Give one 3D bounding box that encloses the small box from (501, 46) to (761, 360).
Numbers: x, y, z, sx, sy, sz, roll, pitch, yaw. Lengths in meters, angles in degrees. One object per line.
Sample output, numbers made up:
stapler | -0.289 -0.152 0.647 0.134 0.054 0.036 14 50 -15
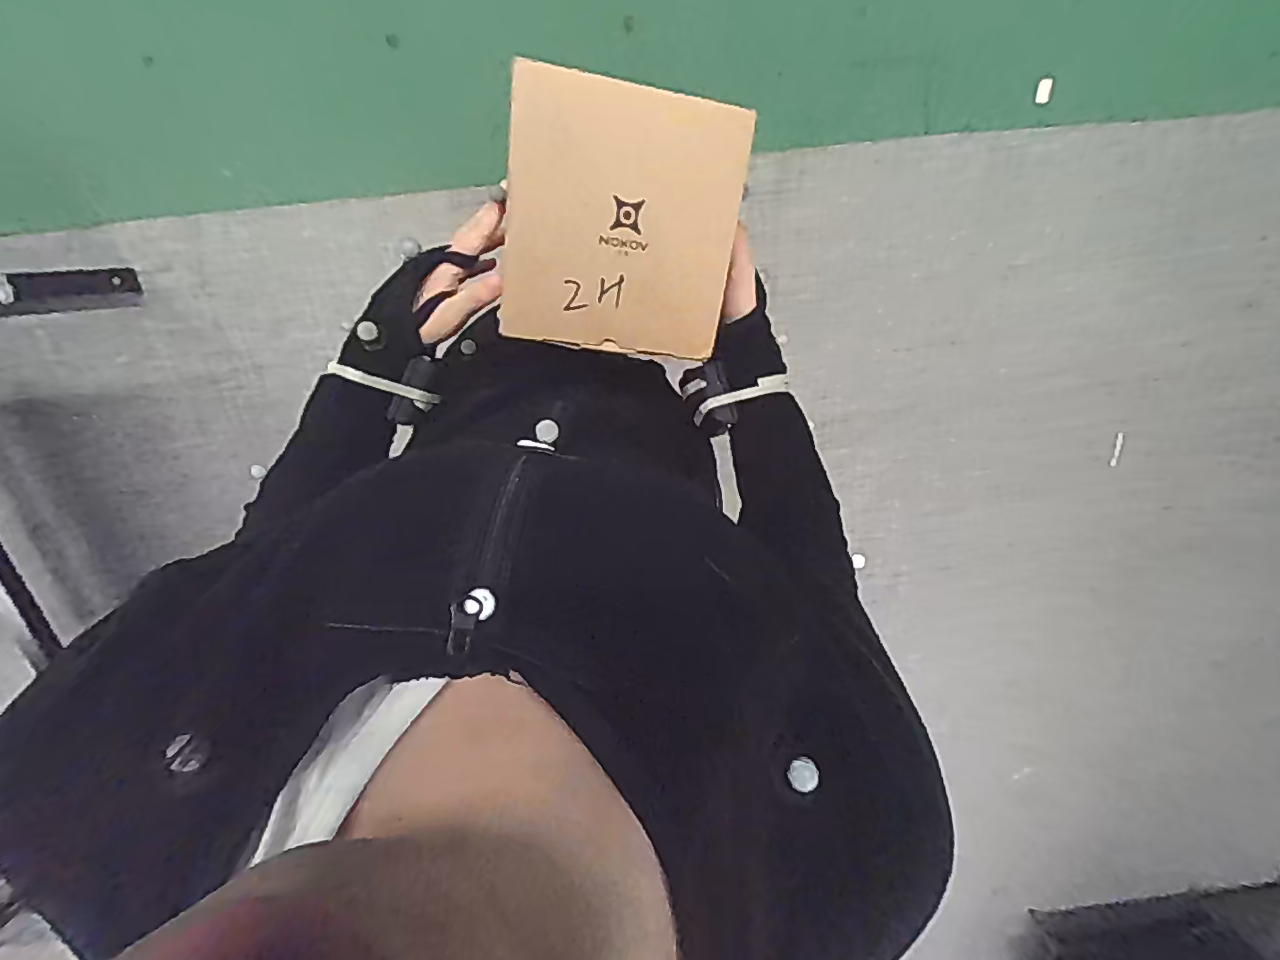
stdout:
small box | -0.022 -0.212 0.456 0.168 0.176 0.179 6 110 -12
